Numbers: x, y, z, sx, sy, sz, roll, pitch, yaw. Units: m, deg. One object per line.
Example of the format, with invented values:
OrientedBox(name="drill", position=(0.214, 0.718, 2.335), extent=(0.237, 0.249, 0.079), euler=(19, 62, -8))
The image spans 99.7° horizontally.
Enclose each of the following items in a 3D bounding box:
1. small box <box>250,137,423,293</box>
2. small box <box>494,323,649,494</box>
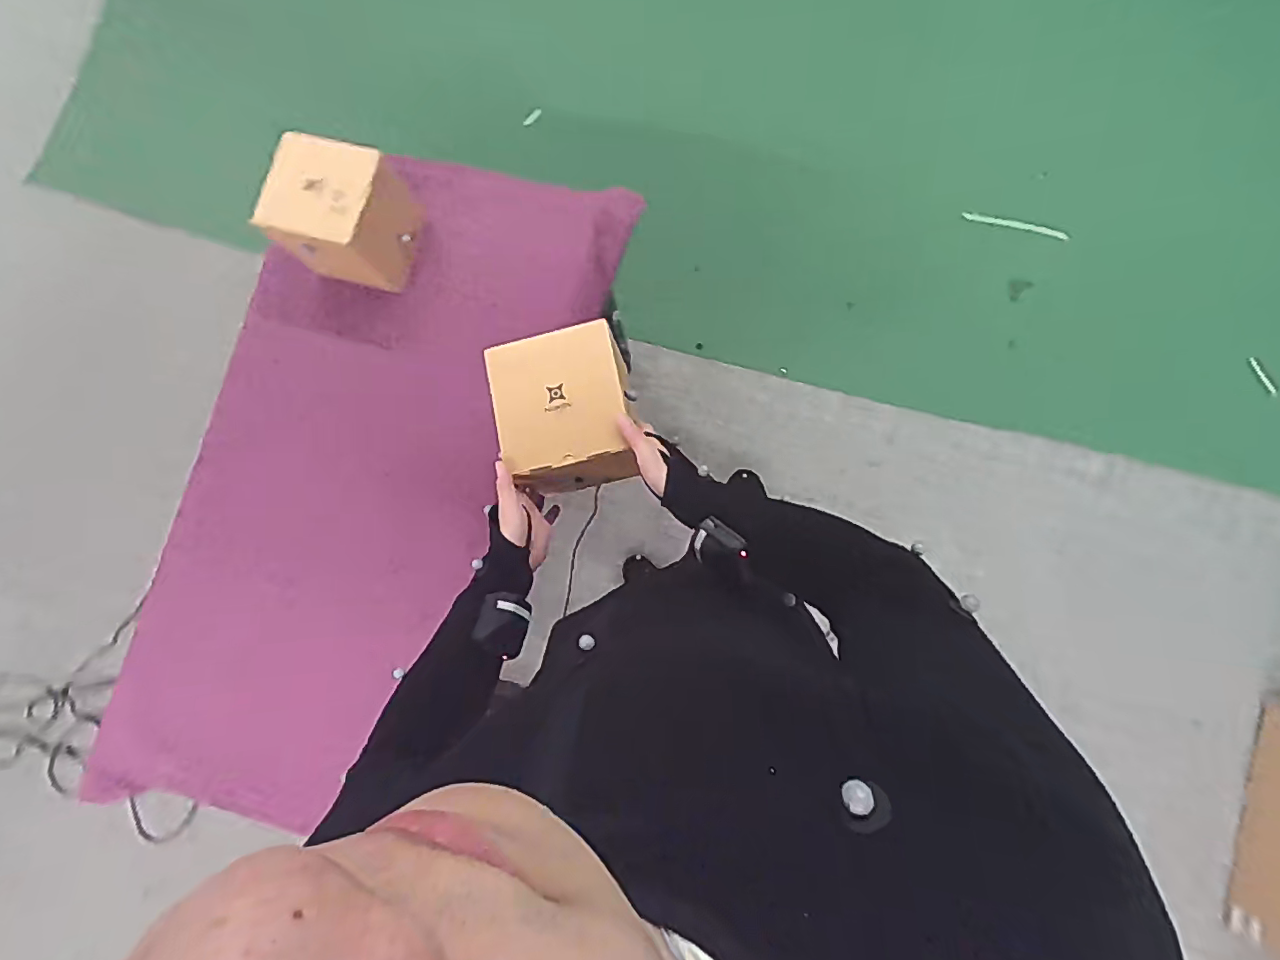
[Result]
OrientedBox(name="small box", position=(-0.516, -0.450, 0.943), extent=(0.179, 0.176, 0.168), euler=(15, 85, 5))
OrientedBox(name="small box", position=(-0.087, -0.088, 0.756), extent=(0.168, 0.176, 0.179), euler=(-13, 81, 4))
